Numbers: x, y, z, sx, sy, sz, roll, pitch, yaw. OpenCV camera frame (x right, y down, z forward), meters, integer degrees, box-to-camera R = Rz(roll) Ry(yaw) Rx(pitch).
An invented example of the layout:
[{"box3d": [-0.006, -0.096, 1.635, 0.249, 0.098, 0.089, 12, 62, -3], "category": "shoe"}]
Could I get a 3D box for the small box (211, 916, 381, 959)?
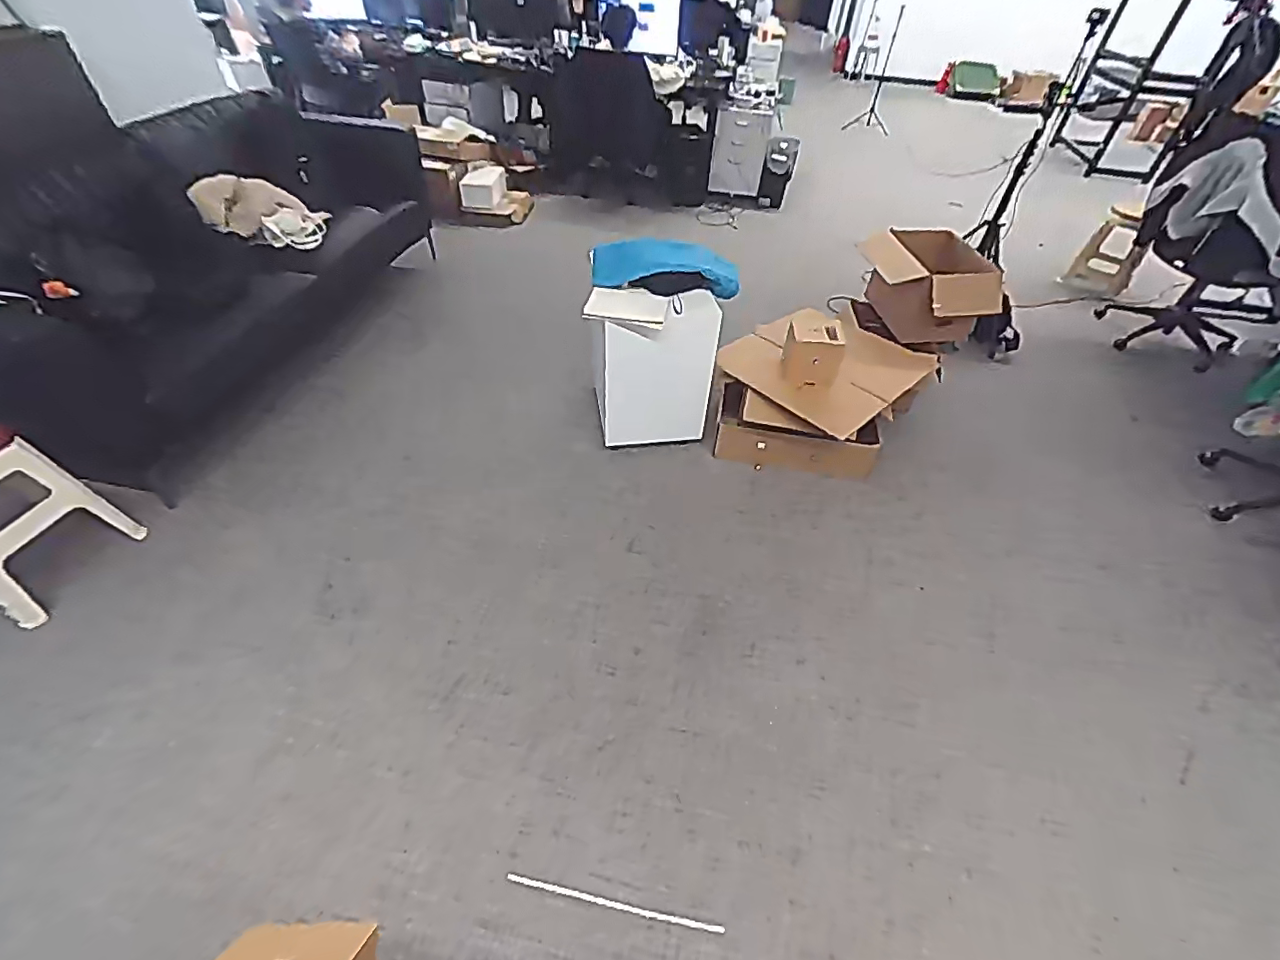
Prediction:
[{"box3d": [-0.424, 0.646, 0.621, 0.168, 0.179, 0.176, 0, 80, -2], "category": "small box"}]
